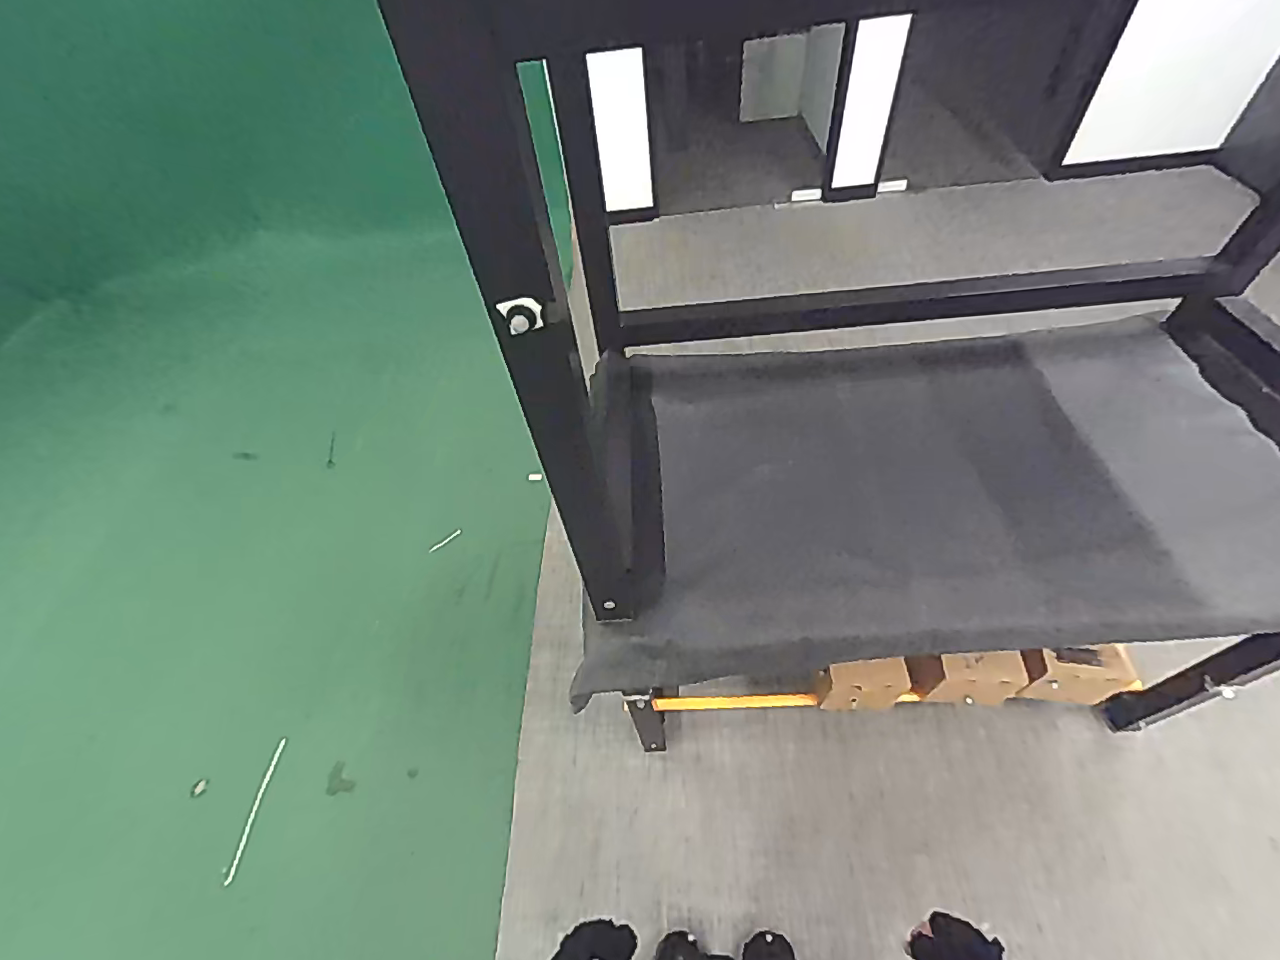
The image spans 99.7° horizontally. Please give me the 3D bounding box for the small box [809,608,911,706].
[{"bbox_3d":[0.499,0.412,1.257,0.168,0.176,0.179,-2,54,5],"label":"small box"}]
